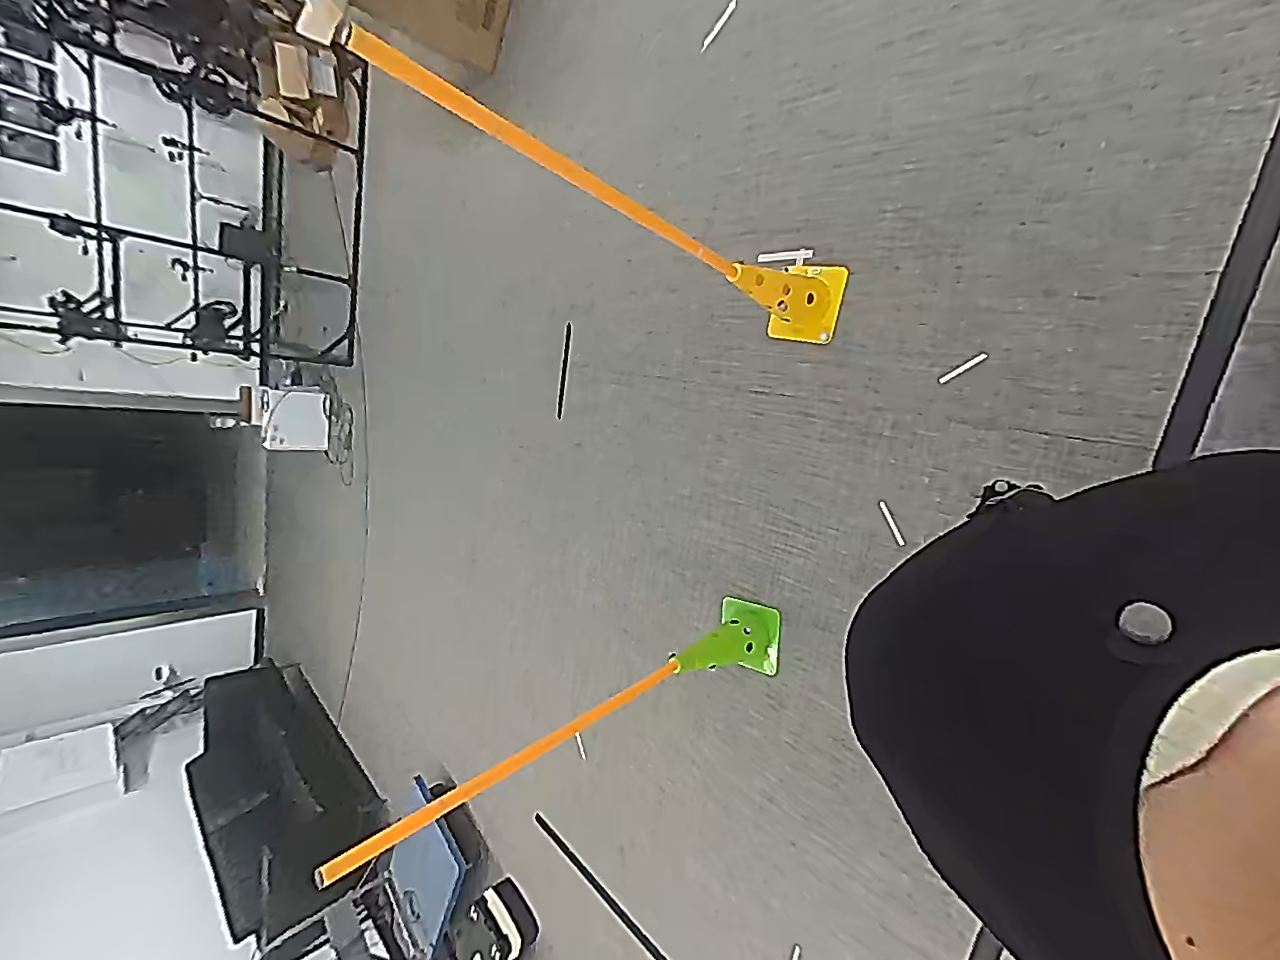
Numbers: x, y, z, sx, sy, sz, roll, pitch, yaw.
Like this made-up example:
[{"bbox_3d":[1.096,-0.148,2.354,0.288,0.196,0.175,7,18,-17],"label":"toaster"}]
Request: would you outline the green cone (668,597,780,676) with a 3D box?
[{"bbox_3d":[0.212,0.469,1.508,0.200,0.368,0.202,5,94,44],"label":"green cone"}]
